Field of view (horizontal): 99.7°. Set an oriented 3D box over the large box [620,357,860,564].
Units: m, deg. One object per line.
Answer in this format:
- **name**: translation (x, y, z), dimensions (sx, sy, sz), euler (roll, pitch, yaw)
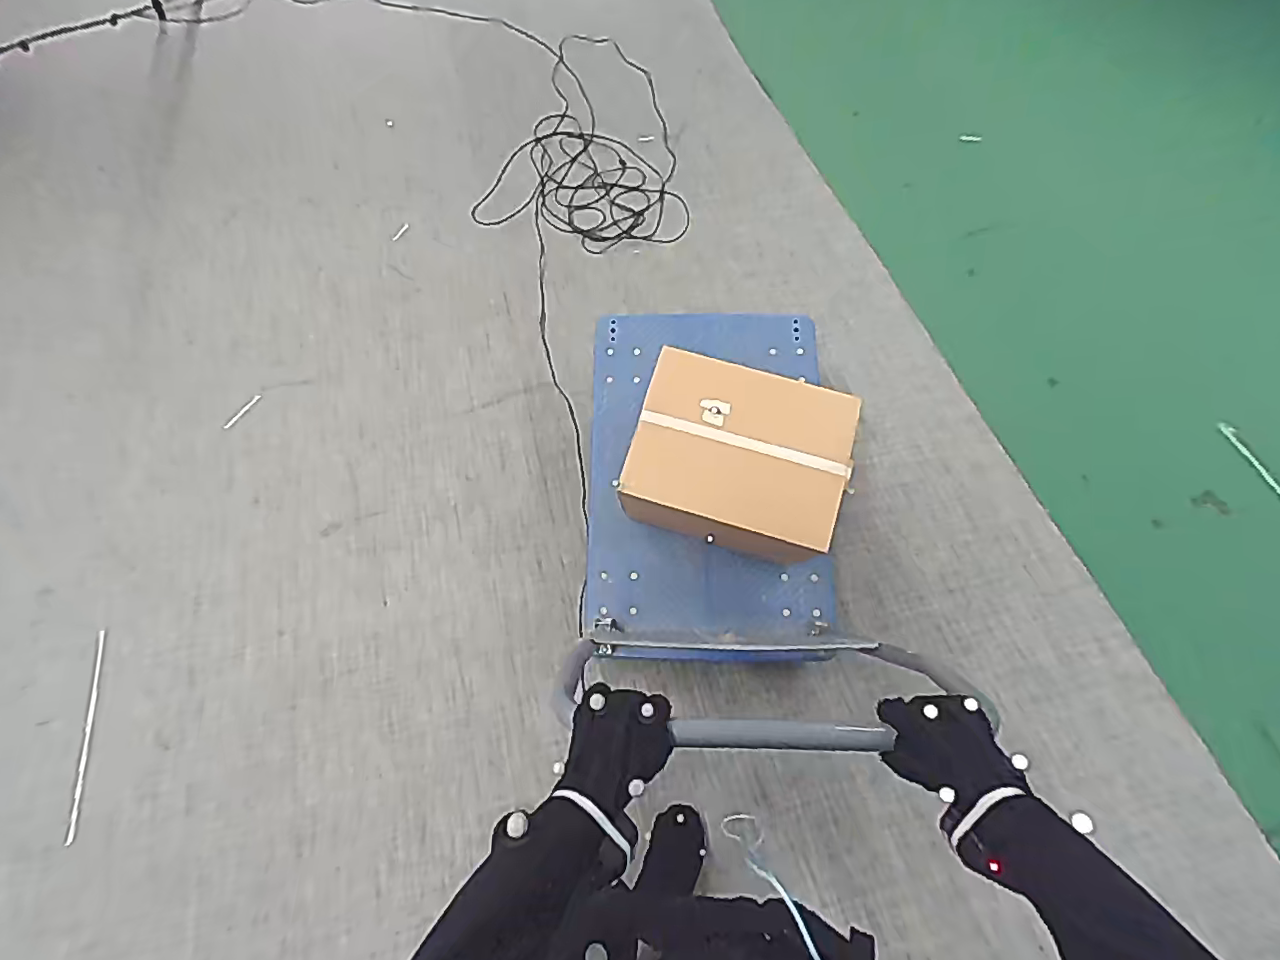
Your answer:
- **large box**: translation (0.204, -0.023, 1.170), dimensions (0.408, 0.320, 0.320), euler (15, 77, 7)
